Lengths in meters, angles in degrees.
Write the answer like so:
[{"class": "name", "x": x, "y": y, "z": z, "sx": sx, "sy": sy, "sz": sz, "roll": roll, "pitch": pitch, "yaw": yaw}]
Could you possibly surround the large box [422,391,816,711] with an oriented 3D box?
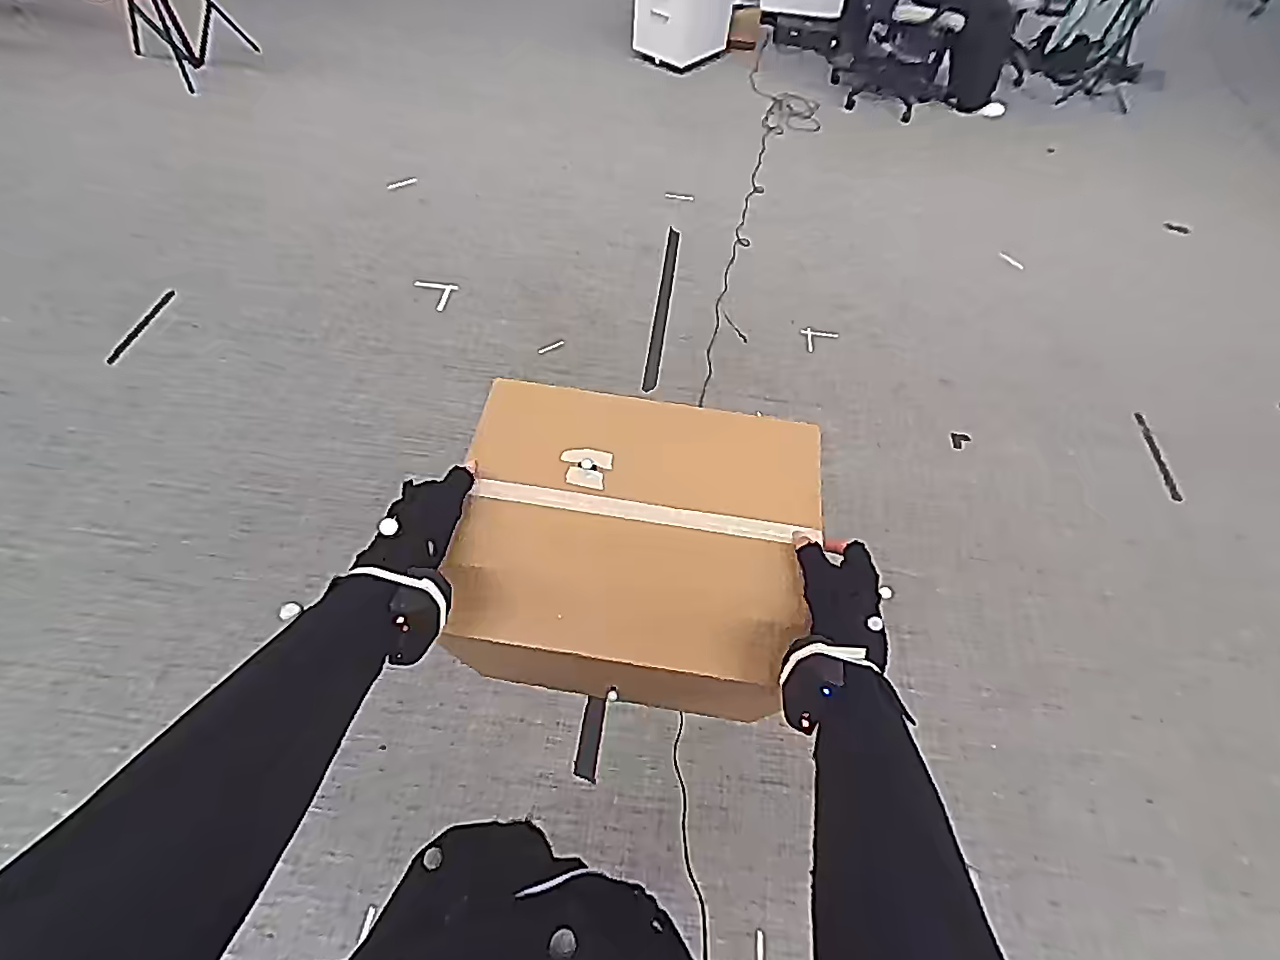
[{"class": "large box", "x": -0.007, "y": 0.115, "z": 0.737, "sx": 0.408, "sy": 0.320, "sz": 0.320, "roll": 8, "pitch": 61, "yaw": 2}]
